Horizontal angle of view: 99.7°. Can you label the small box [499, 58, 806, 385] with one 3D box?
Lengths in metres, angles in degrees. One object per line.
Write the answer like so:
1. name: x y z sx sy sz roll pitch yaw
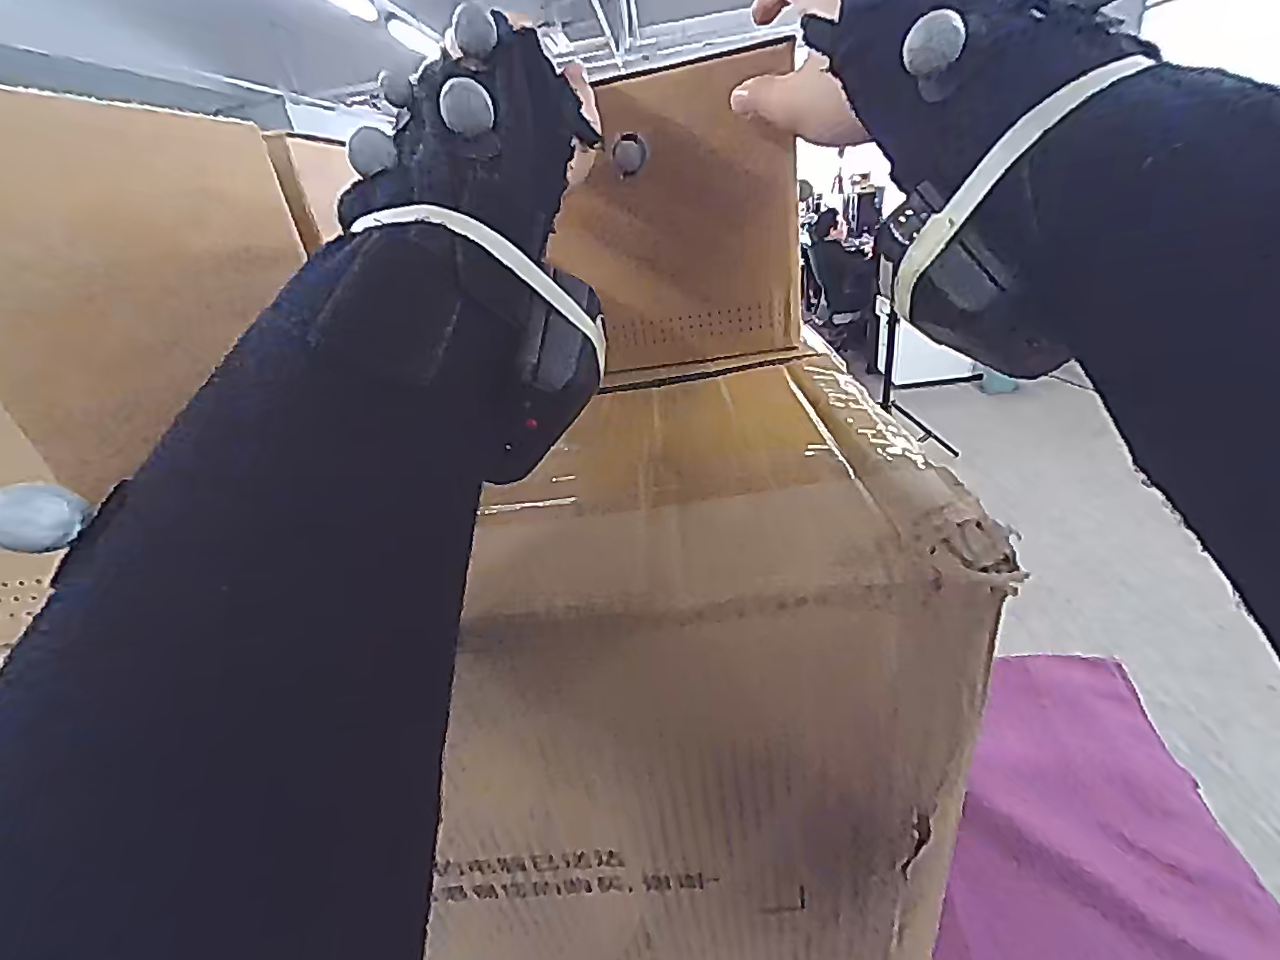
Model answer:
1. small box: 0.025 -0.182 0.405 0.179 0.176 0.168 -5 28 11
